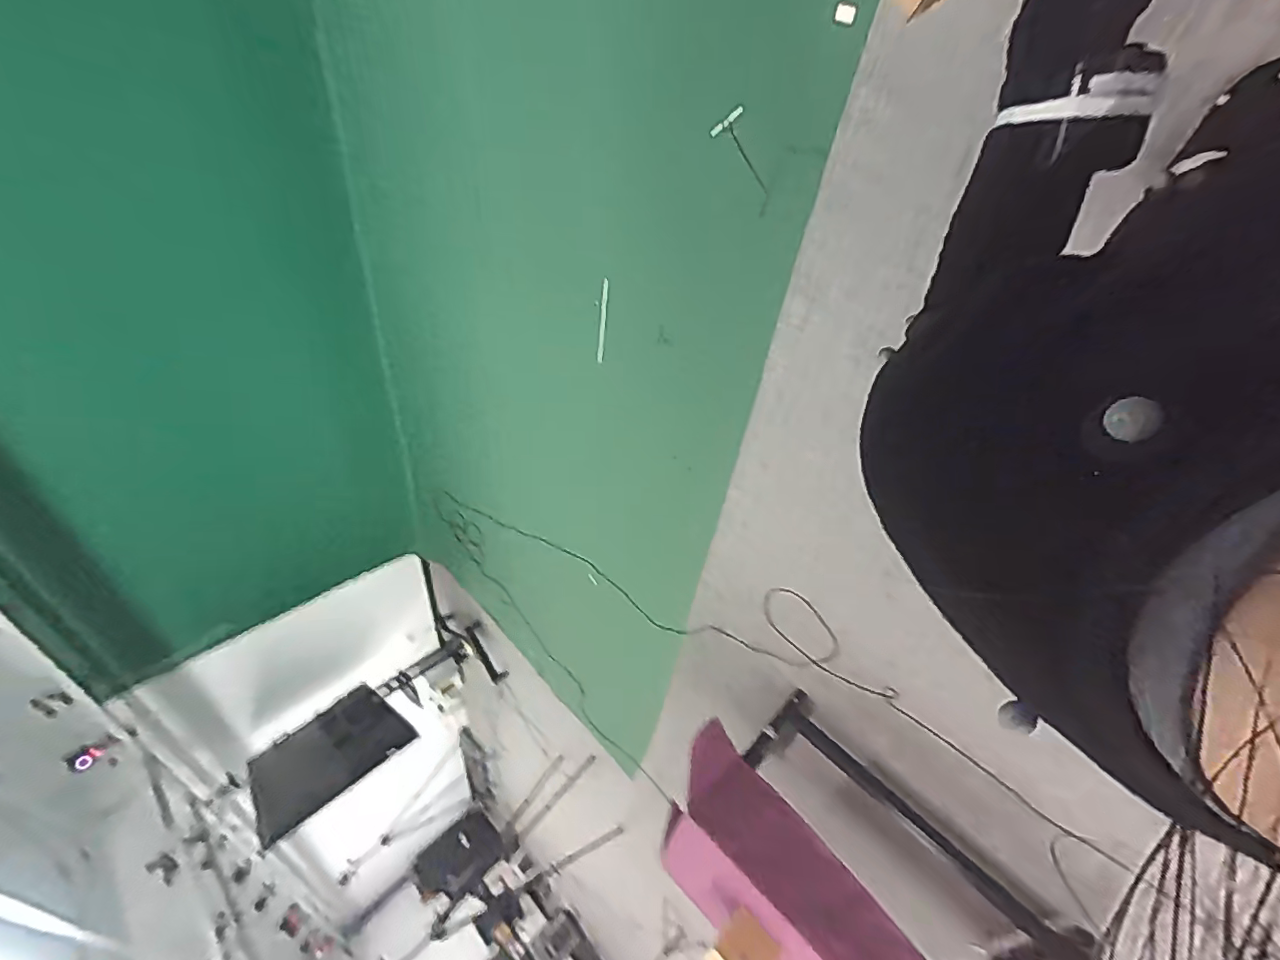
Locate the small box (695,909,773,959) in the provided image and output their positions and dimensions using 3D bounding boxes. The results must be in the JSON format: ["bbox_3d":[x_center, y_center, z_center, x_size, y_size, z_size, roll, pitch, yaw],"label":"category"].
[{"bbox_3d":[0.315,1.596,1.809,0.179,0.176,0.168,38,137,29],"label":"small box"}]
